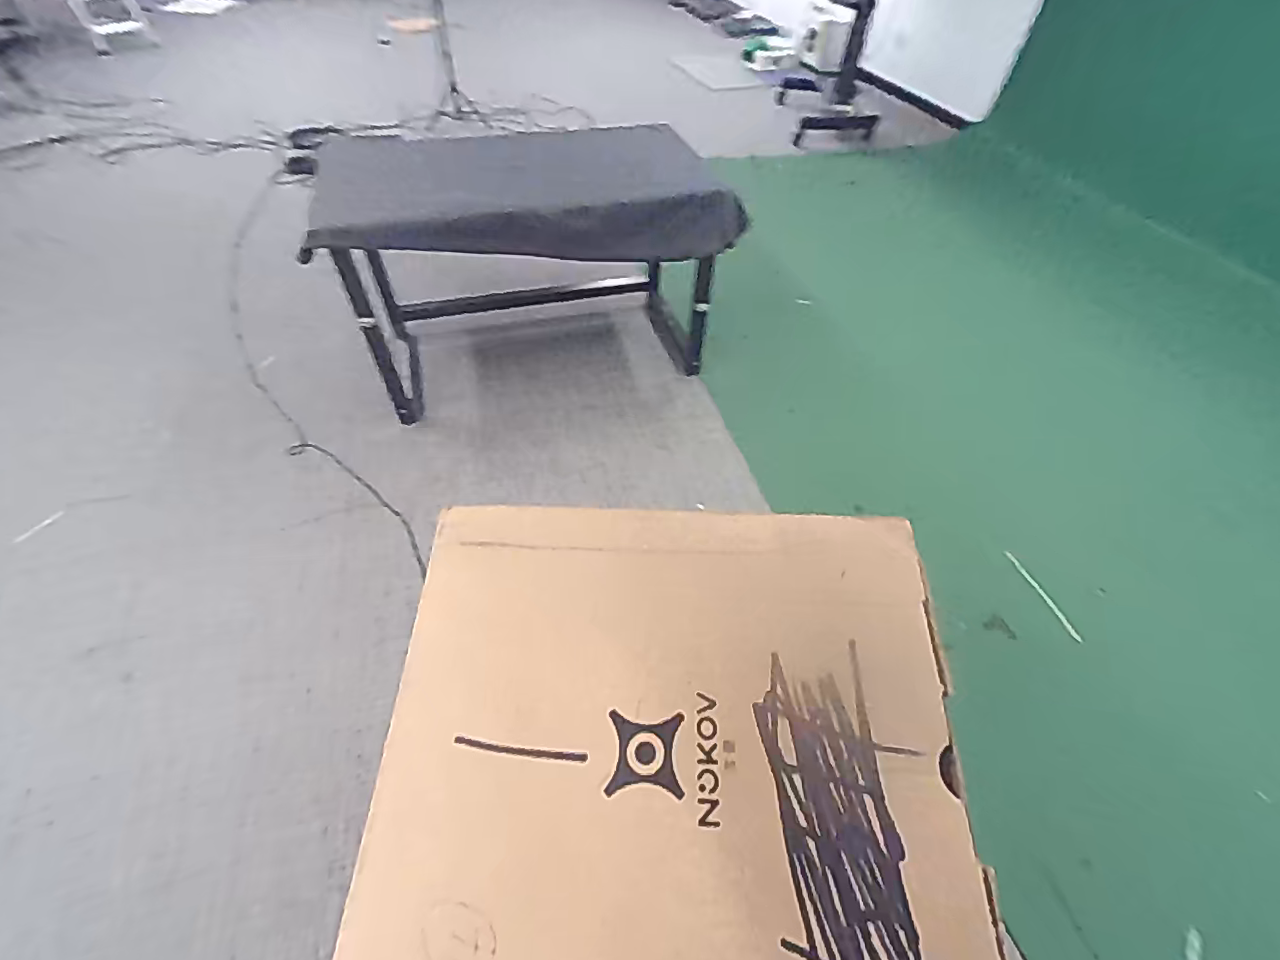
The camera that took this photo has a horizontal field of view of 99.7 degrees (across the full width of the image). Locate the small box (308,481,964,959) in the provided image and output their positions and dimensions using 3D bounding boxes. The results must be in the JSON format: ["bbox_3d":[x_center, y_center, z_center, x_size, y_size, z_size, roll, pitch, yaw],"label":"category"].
[{"bbox_3d":[0.003,0.118,0.240,0.179,0.176,0.168,4,59,2],"label":"small box"}]
